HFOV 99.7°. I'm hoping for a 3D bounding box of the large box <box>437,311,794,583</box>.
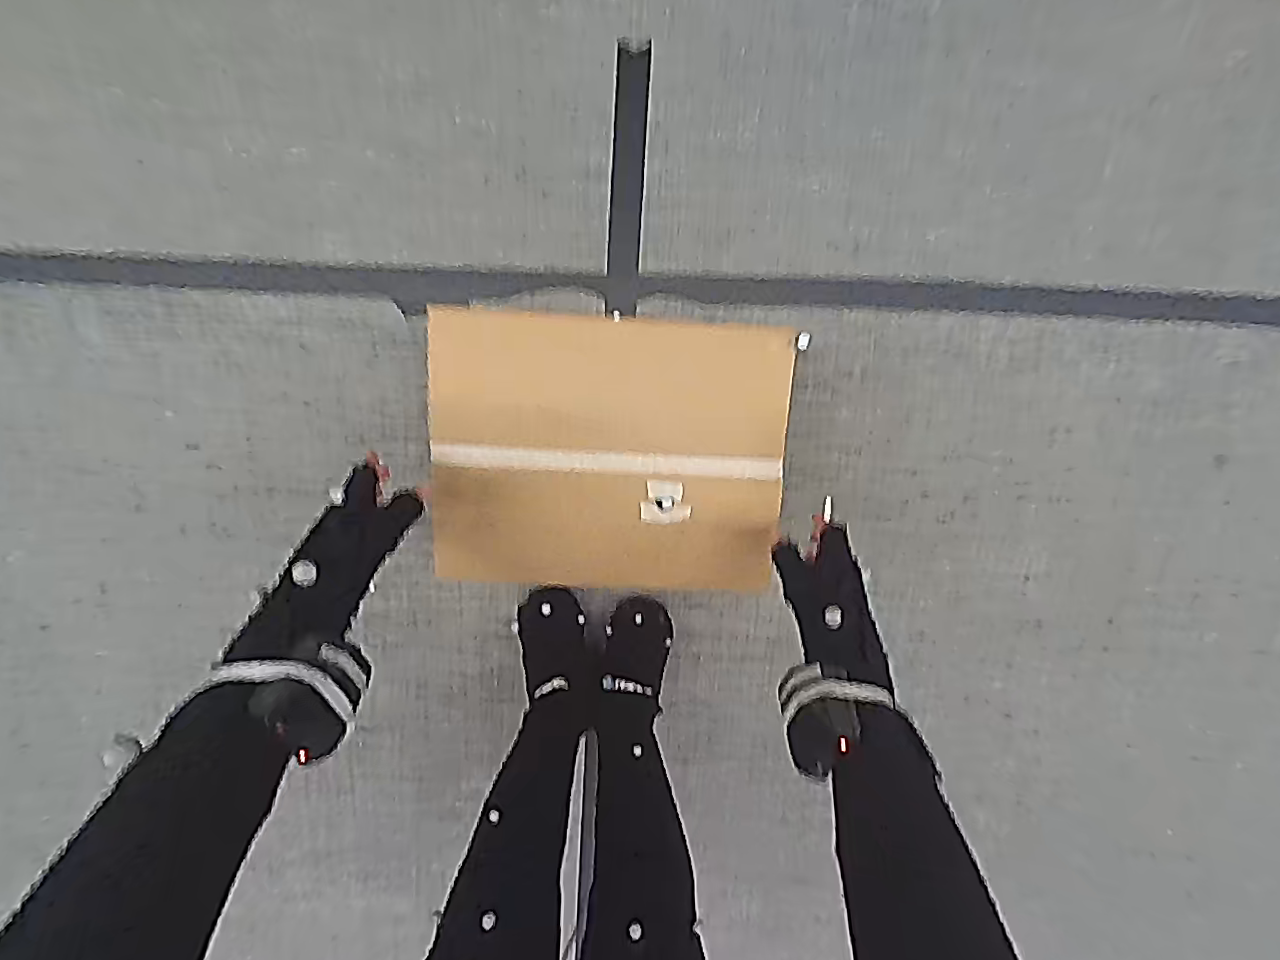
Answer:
[{"bbox_3d":[-0.039,-0.057,0.774,0.408,0.320,0.320,2,103,-4],"label":"large box"}]
